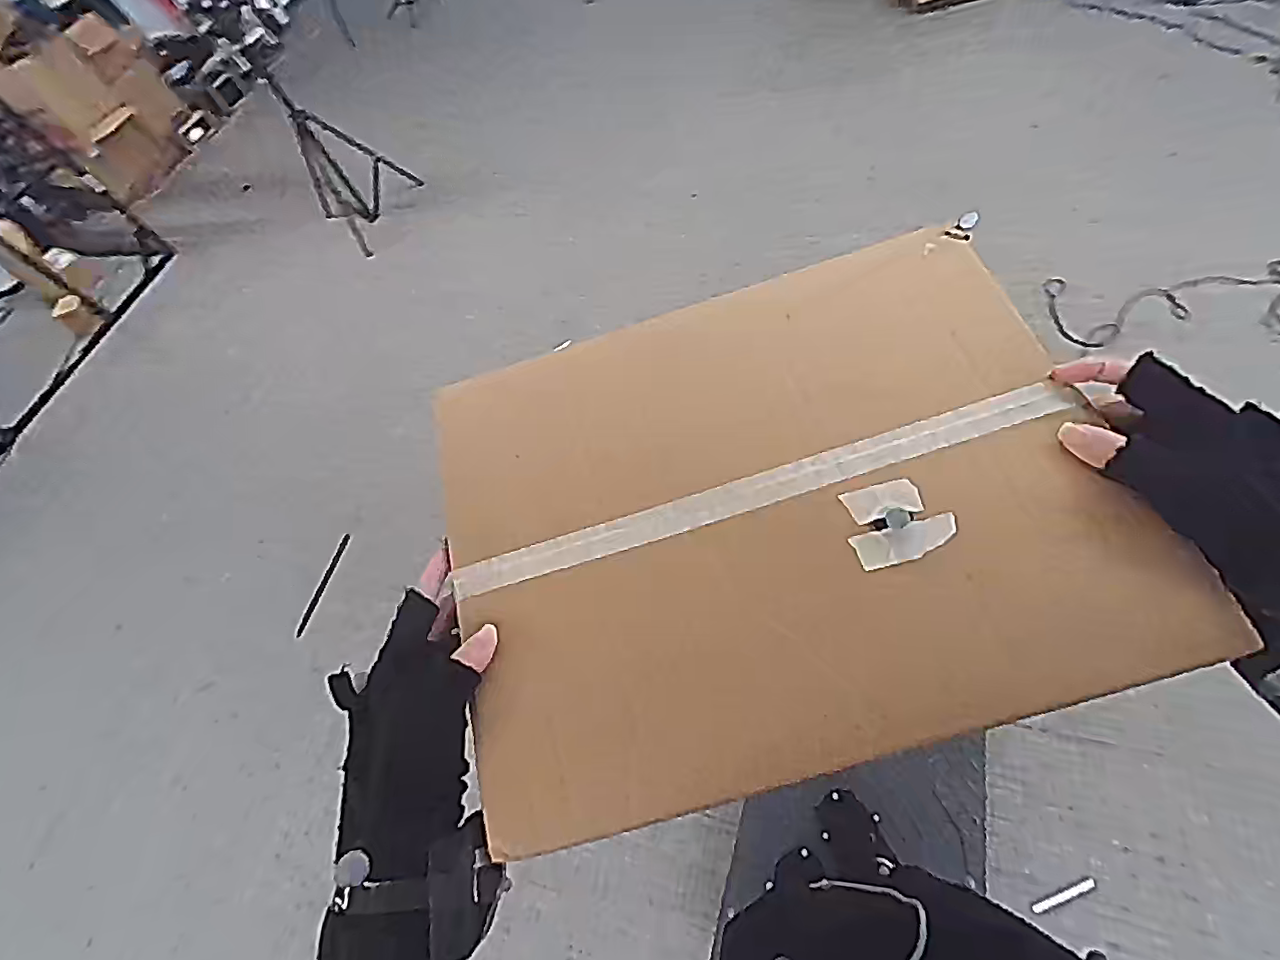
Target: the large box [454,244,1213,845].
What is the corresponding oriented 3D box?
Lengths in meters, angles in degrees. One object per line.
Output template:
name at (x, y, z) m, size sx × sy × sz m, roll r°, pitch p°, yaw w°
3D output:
large box at (0.102, 0.070, 0.490) m, size 0.408 × 0.320 × 0.320 m, roll -17°, pitch 66°, yaw 2°
